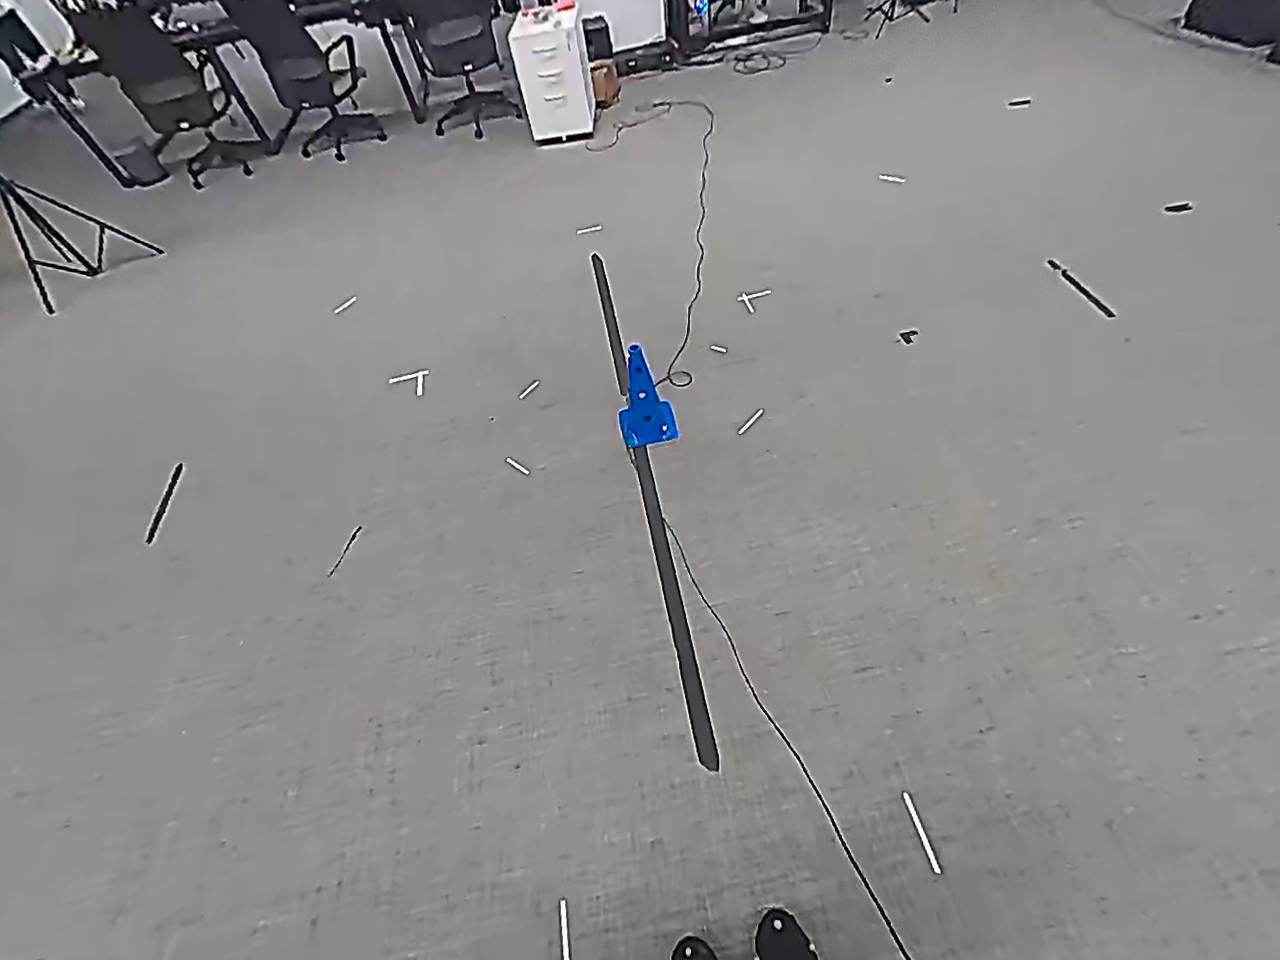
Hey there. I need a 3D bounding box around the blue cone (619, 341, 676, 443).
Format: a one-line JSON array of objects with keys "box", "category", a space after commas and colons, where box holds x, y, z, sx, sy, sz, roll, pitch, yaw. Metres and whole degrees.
[{"box": [0.004, -0.321, 1.858, 0.193, 0.380, 0.192, -13, 52, -2], "category": "blue cone"}]
